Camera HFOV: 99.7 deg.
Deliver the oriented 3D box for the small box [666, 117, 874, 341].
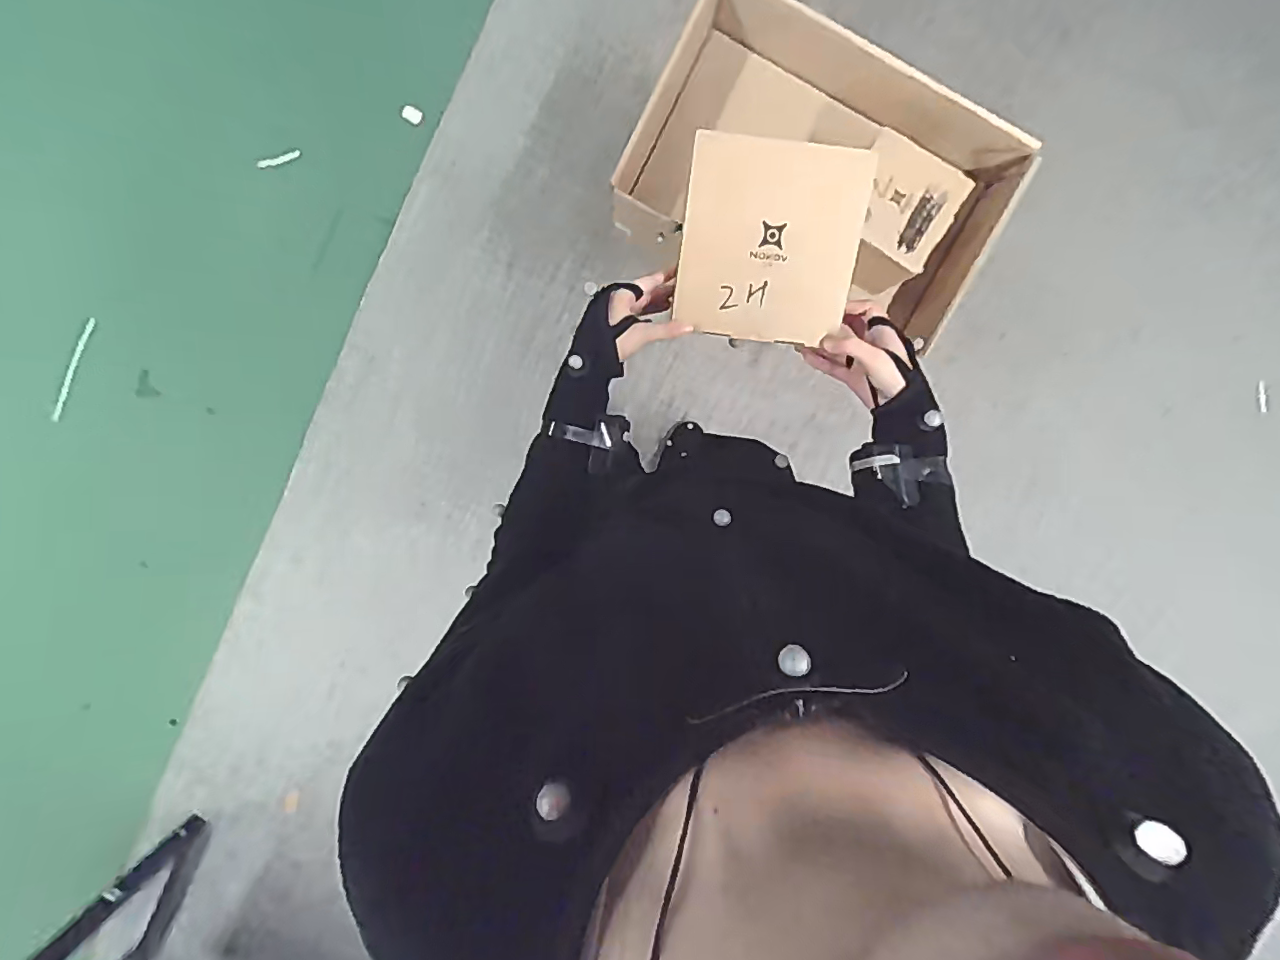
[{"bbox_3d":[0.118,-0.250,0.573,0.168,0.176,0.179,7,109,0],"label":"small box"}]
